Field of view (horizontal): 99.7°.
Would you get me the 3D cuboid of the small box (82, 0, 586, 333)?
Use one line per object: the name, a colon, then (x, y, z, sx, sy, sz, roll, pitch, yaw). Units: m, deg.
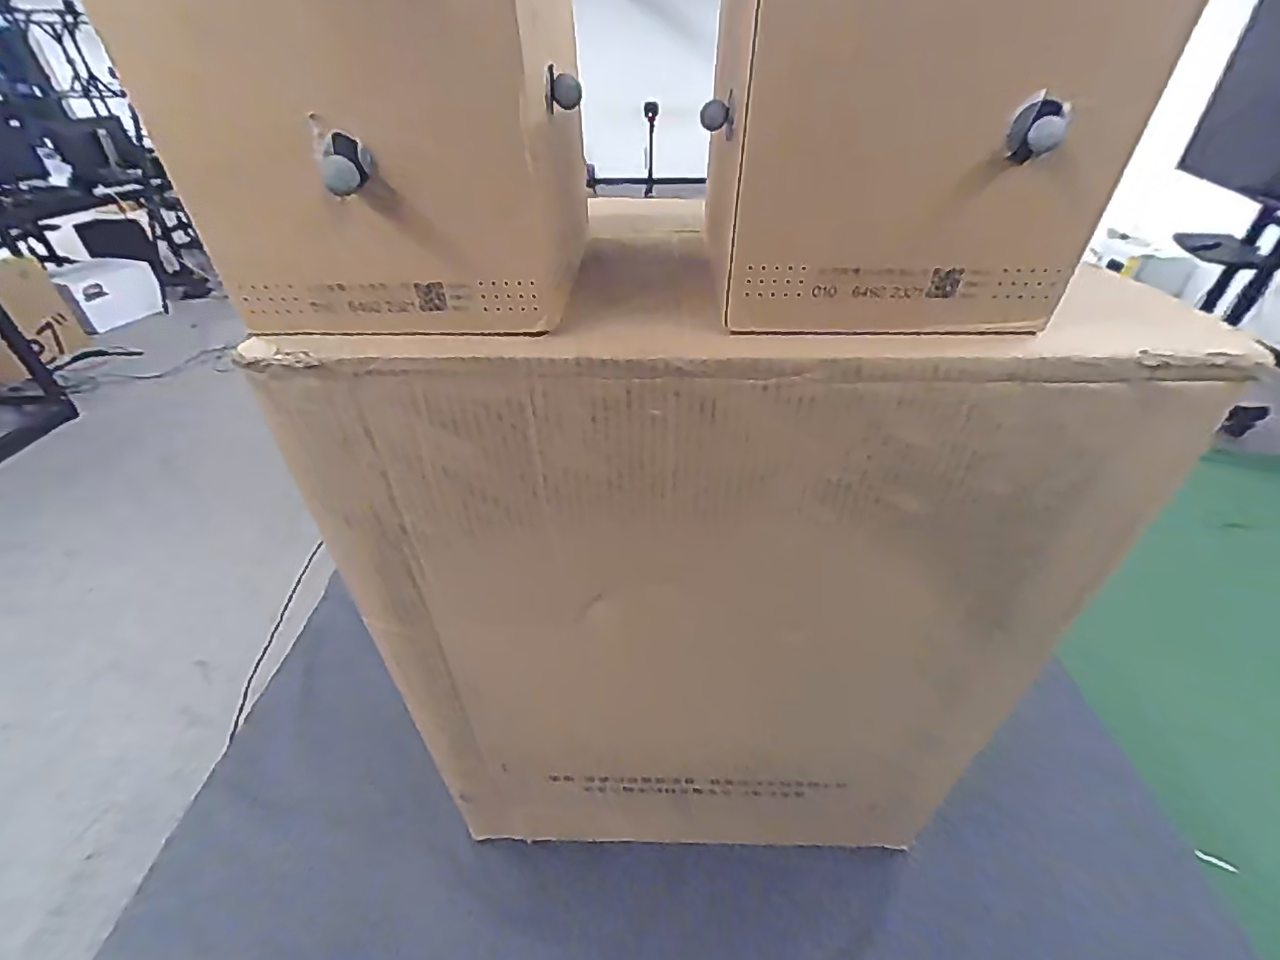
small box: (-0.124, -0.193, 0.300, 0.168, 0.176, 0.179, 2, 40, 2)

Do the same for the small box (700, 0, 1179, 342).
small box: (0.124, -0.186, 0.293, 0.168, 0.176, 0.179, 3, 38, 0)
